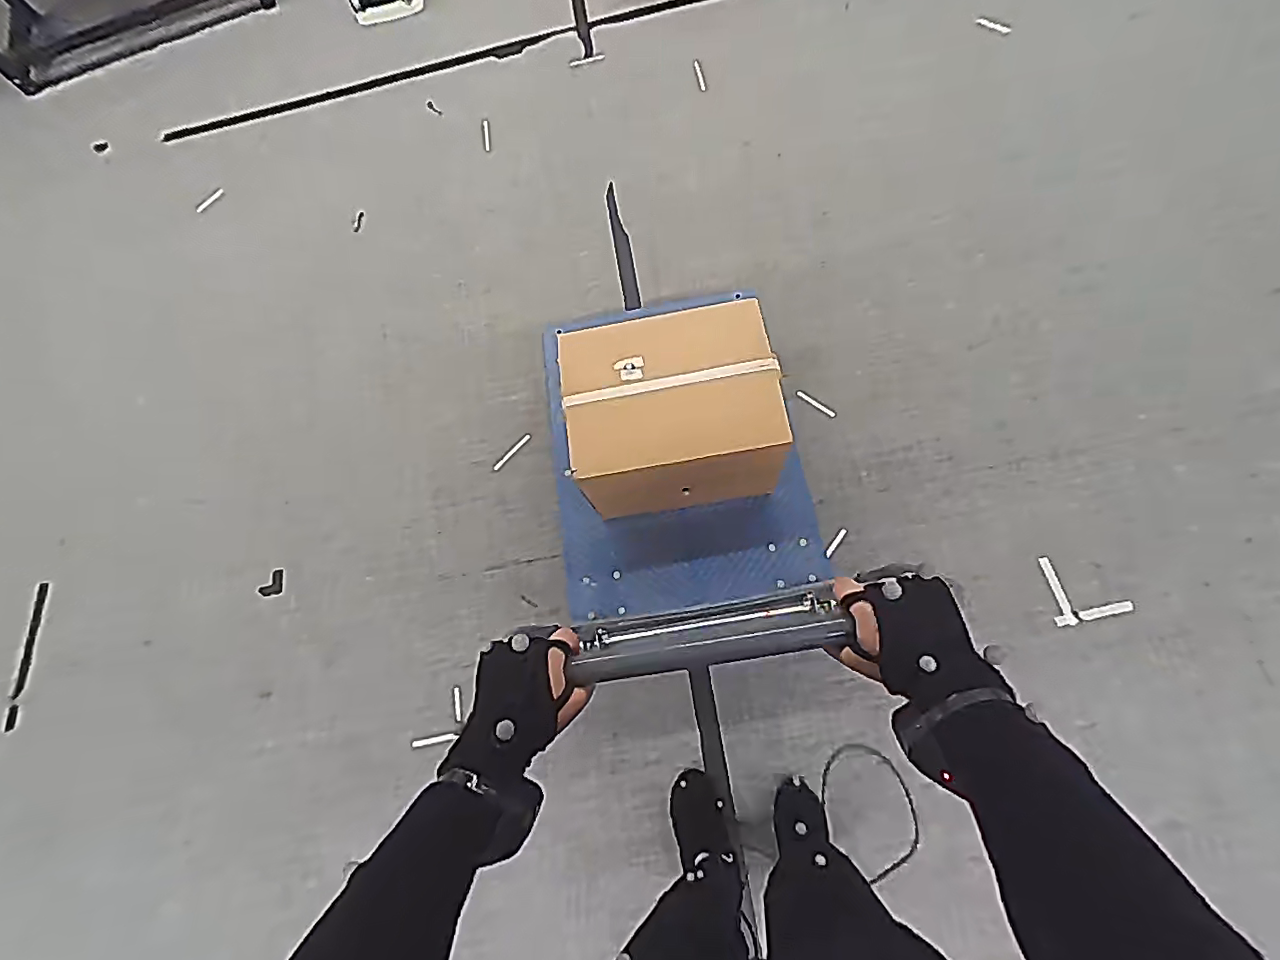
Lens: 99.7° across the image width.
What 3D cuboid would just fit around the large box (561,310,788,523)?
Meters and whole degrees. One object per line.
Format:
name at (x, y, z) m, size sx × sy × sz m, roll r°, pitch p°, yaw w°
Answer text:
large box at (0.075, -0.116, 1.185) m, size 0.408 × 0.320 × 0.320 m, roll -11°, pitch 70°, yaw 5°
